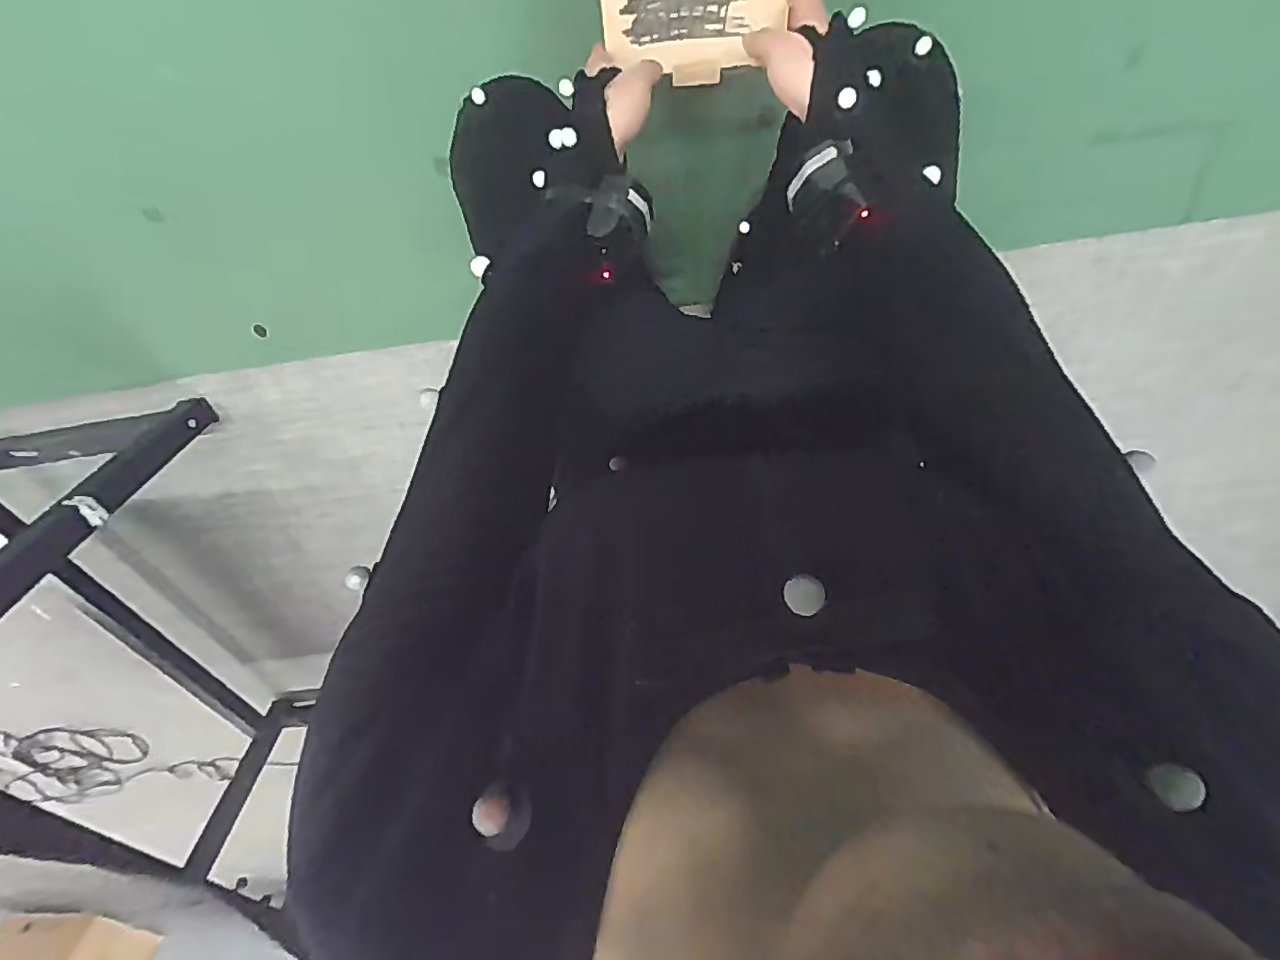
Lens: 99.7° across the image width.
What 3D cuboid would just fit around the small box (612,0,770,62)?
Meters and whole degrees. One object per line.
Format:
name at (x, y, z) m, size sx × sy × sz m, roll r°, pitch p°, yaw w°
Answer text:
small box at (0.053, -0.603, 0.629) m, size 0.179 × 0.176 × 0.168 m, roll -4°, pitch 130°, yaw 3°

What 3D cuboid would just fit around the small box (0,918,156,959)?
small box at (-0.943, 0.821, 0.856) m, size 0.168 × 0.176 × 0.179 m, roll -5°, pitch 130°, yaw 5°
